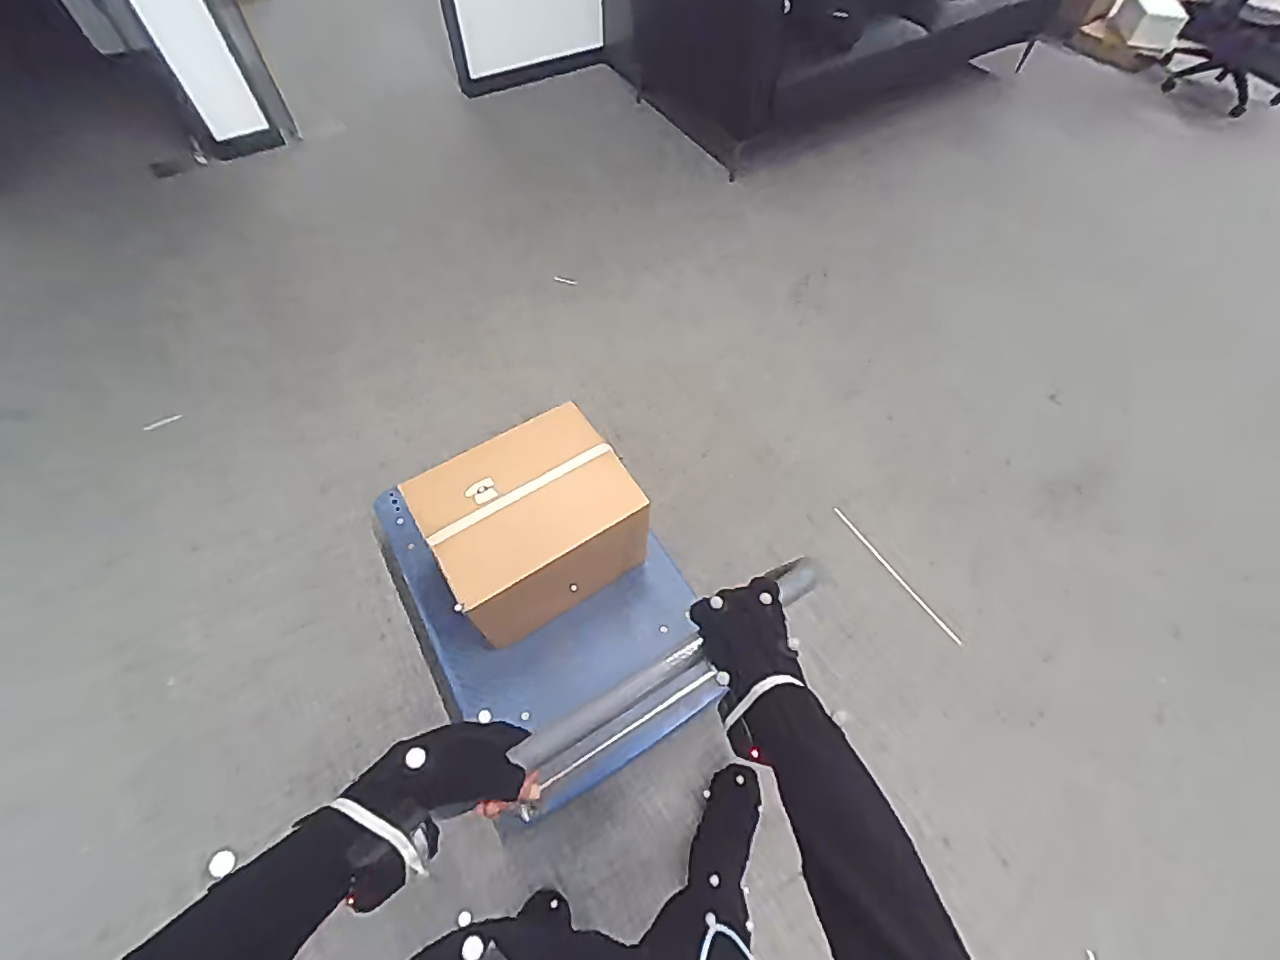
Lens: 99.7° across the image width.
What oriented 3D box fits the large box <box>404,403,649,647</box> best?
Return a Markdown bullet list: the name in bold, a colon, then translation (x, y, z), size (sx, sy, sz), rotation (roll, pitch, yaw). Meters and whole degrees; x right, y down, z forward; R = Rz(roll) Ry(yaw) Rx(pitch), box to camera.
- **large box**: translation (-0.230, 0.105, 1.210), size (0.408, 0.320, 0.320), rotation (-31, 65, -18)
